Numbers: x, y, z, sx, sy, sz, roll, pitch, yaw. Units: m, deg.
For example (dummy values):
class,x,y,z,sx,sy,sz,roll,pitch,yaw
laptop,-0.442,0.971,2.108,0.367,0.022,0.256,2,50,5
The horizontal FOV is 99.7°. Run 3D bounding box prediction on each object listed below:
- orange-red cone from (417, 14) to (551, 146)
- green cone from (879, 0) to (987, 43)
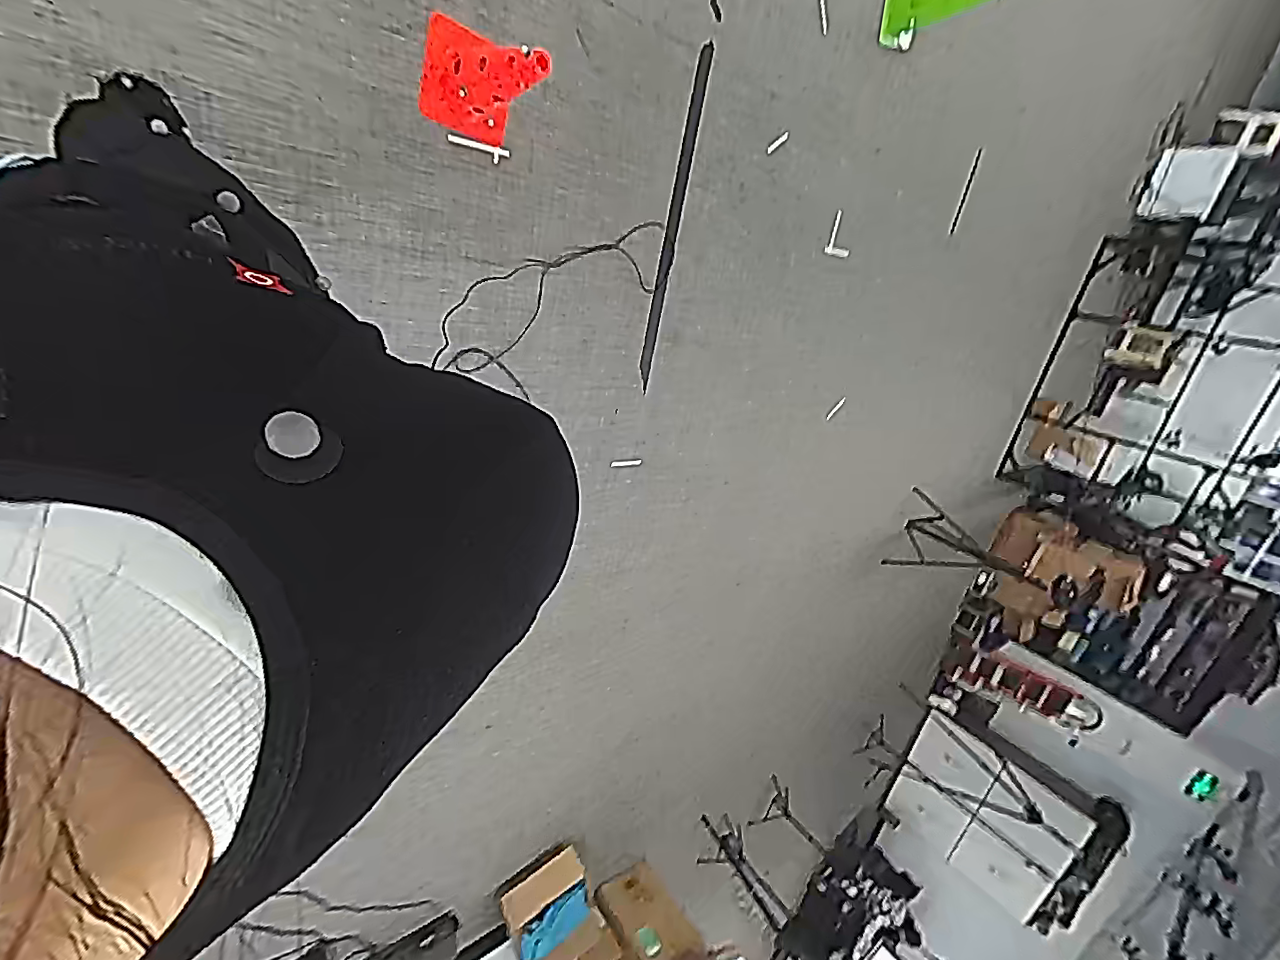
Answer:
class,x,y,z,sx,sy,sz,roll,pitch,yaw
orange-red cone,-0.286,-0.826,1.097,0.198,0.360,0.199,2,110,-42
green cone,1.026,-1.618,1.807,0.200,0.368,0.202,-23,128,-30
